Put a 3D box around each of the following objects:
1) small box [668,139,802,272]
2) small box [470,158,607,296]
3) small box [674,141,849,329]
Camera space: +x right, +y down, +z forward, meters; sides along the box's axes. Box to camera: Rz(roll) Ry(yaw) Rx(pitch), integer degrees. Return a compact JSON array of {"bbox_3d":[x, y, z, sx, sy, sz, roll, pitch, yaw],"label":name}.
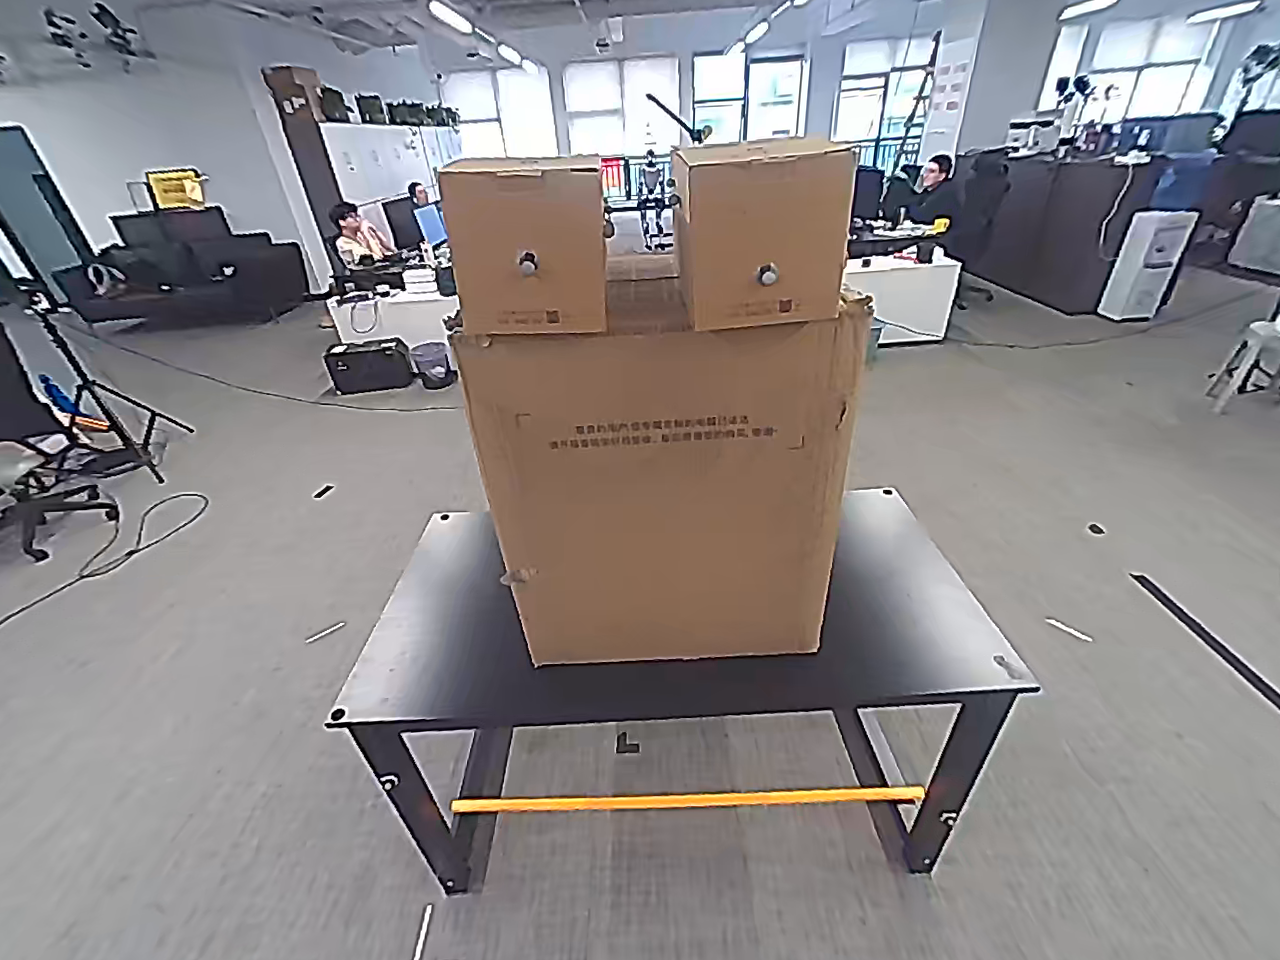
[{"bbox_3d":[0.131,-0.399,0.803,0.168,0.176,0.179,-6,32,1],"label":"small box"},{"bbox_3d":[-0.141,-0.385,0.819,0.168,0.176,0.179,-4,32,0],"label":"small box"},{"bbox_3d":[0.130,-0.293,0.644,0.168,0.176,0.179,-6,36,2],"label":"small box"}]
